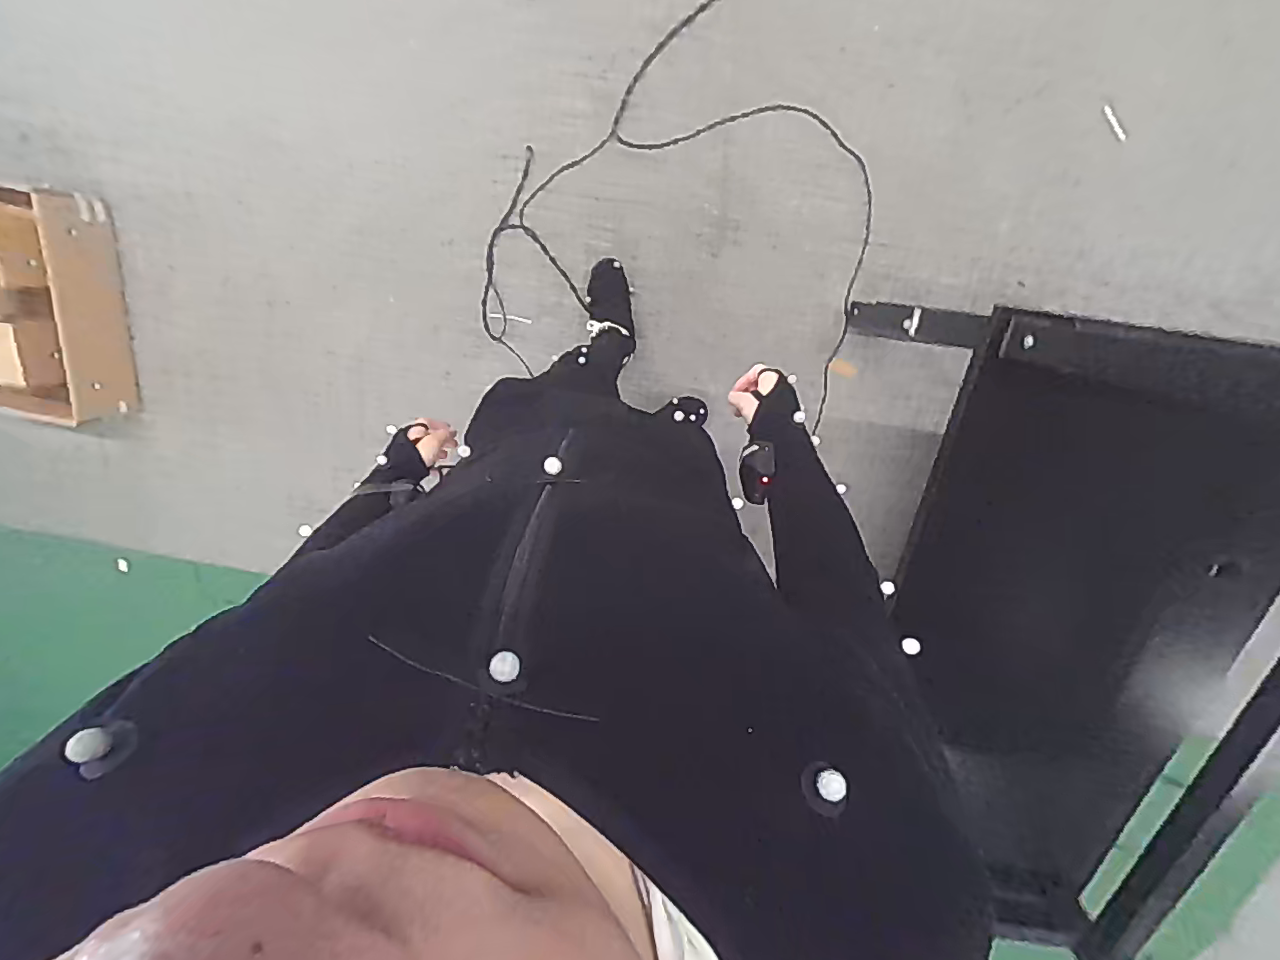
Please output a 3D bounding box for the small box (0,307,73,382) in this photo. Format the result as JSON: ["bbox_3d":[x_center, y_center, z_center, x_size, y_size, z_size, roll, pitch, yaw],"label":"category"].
[{"bbox_3d":[-1.739,-0.381,1.499,0.179,0.176,0.168,10,110,-1],"label":"small box"}]

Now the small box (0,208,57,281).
[{"bbox_3d":[-1.690,-0.622,1.409,0.179,0.176,0.168,10,111,0],"label":"small box"}]
